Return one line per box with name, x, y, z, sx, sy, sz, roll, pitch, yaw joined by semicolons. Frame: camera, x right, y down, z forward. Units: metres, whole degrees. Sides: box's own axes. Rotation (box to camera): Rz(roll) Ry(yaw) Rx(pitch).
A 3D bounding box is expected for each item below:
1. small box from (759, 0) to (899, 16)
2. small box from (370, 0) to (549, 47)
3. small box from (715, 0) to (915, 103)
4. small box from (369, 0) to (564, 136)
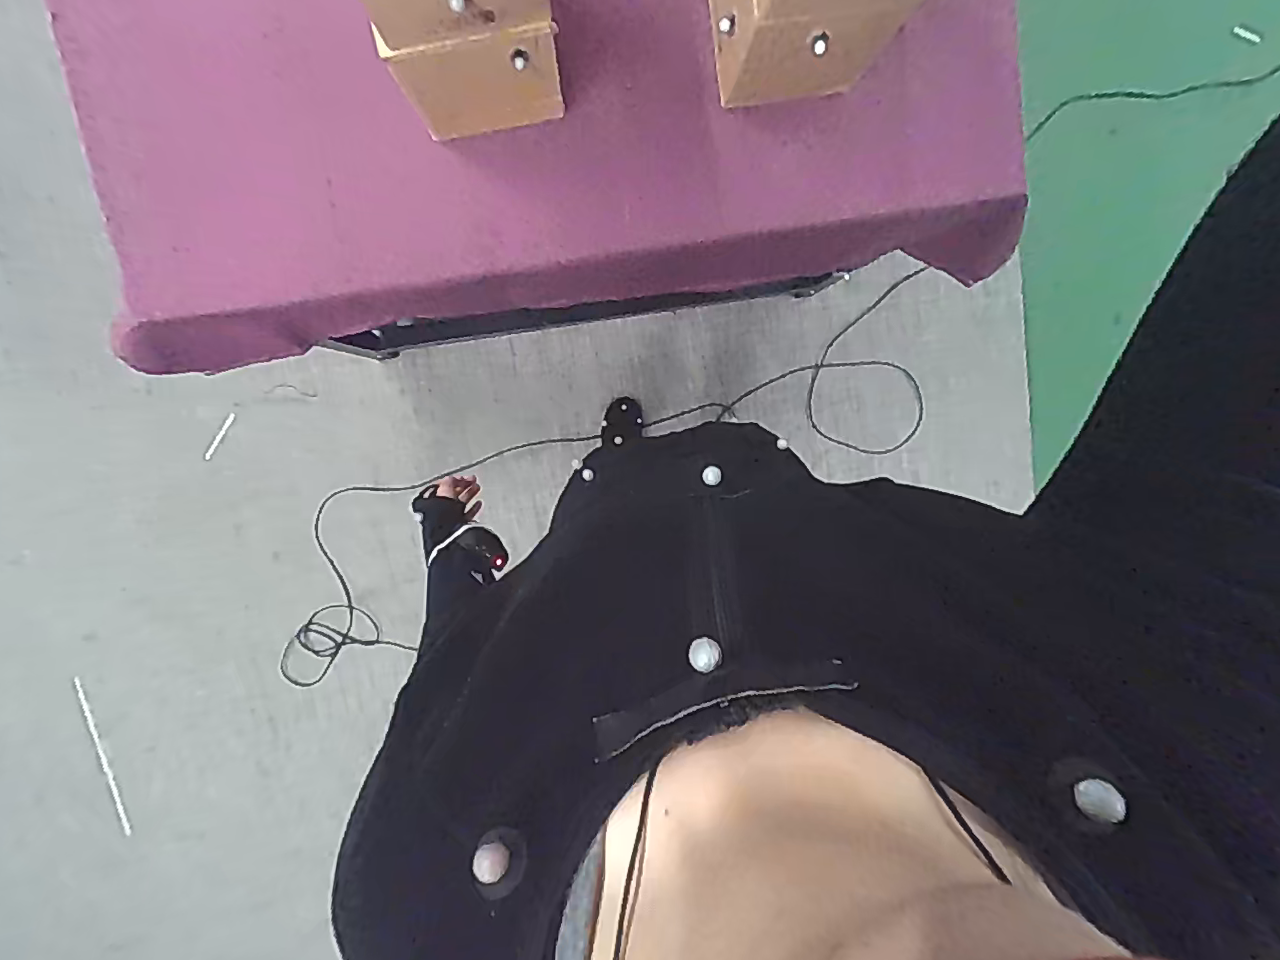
small box;0.202;-0.551;0.465;0.179;0.176;0.168;-8;98;-1
small box;-0.179;-0.515;0.446;0.168;0.176;0.179;-13;97;-2
small box;0.188;-0.573;0.627;0.179;0.176;0.168;-9;98;-3
small box;-0.192;-0.524;0.611;0.179;0.176;0.168;-13;97;-3
